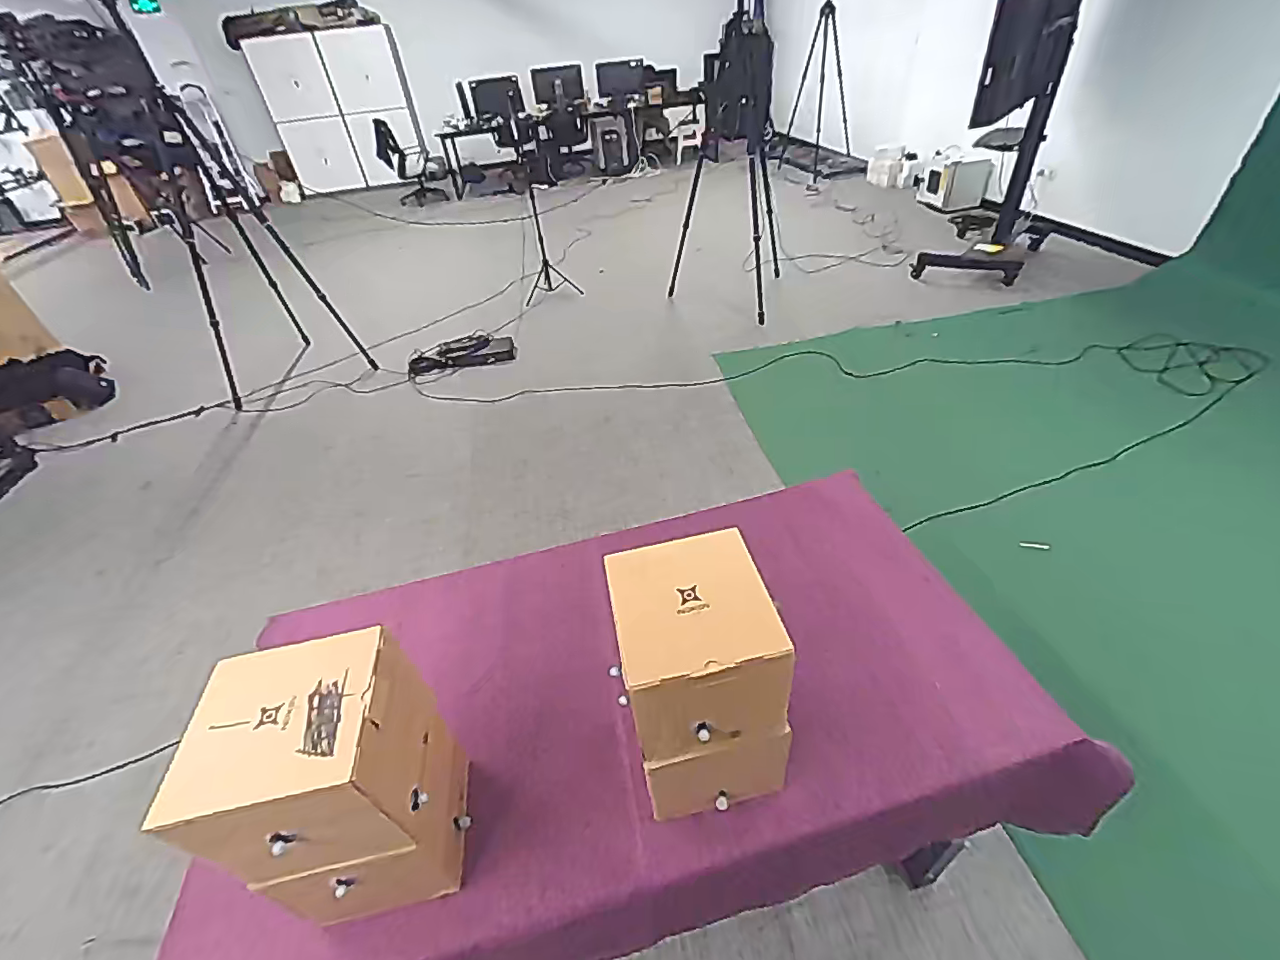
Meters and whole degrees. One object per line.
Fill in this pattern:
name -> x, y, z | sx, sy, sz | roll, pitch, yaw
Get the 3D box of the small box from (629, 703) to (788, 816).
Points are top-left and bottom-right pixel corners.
small box -> 0.079, 0.319, 0.730 | 0.179, 0.176, 0.168 | -12, 40, -6

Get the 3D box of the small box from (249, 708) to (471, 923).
small box -> -0.327, 0.418, 0.675 | 0.179, 0.176, 0.168 | -11, 41, -5

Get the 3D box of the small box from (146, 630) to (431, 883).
small box -> -0.339, 0.291, 0.572 | 0.179, 0.176, 0.168 | -12, 41, -5

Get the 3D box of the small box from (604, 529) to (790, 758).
small box -> 0.059, 0.188, 0.633 | 0.168, 0.176, 0.179 | -12, 41, -5
